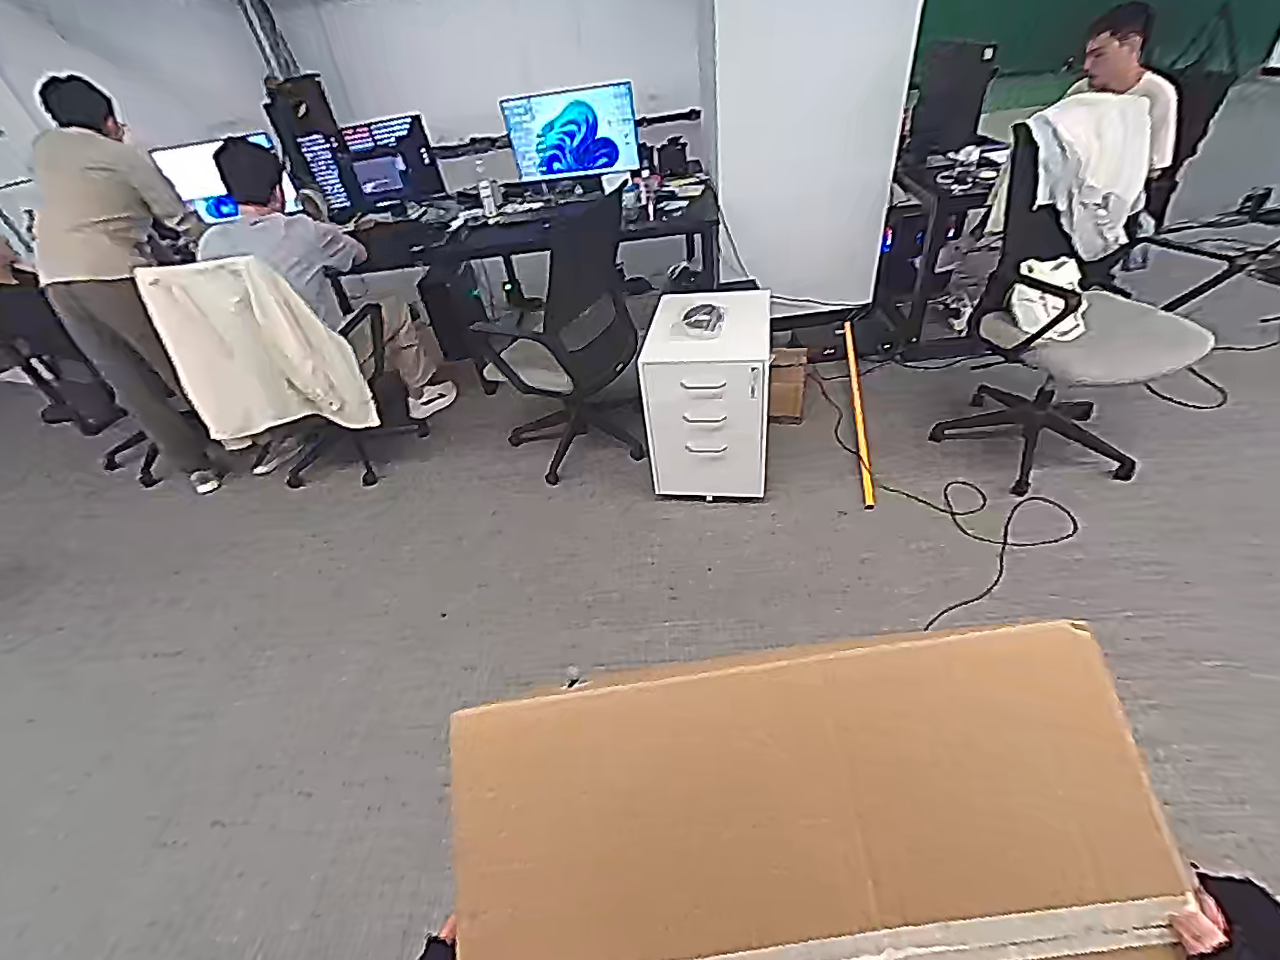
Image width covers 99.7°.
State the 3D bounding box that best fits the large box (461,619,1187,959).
[{"bbox_3d":[0.109,0.314,0.451,0.408,0.320,0.320,-10,73,2],"label":"large box"}]
